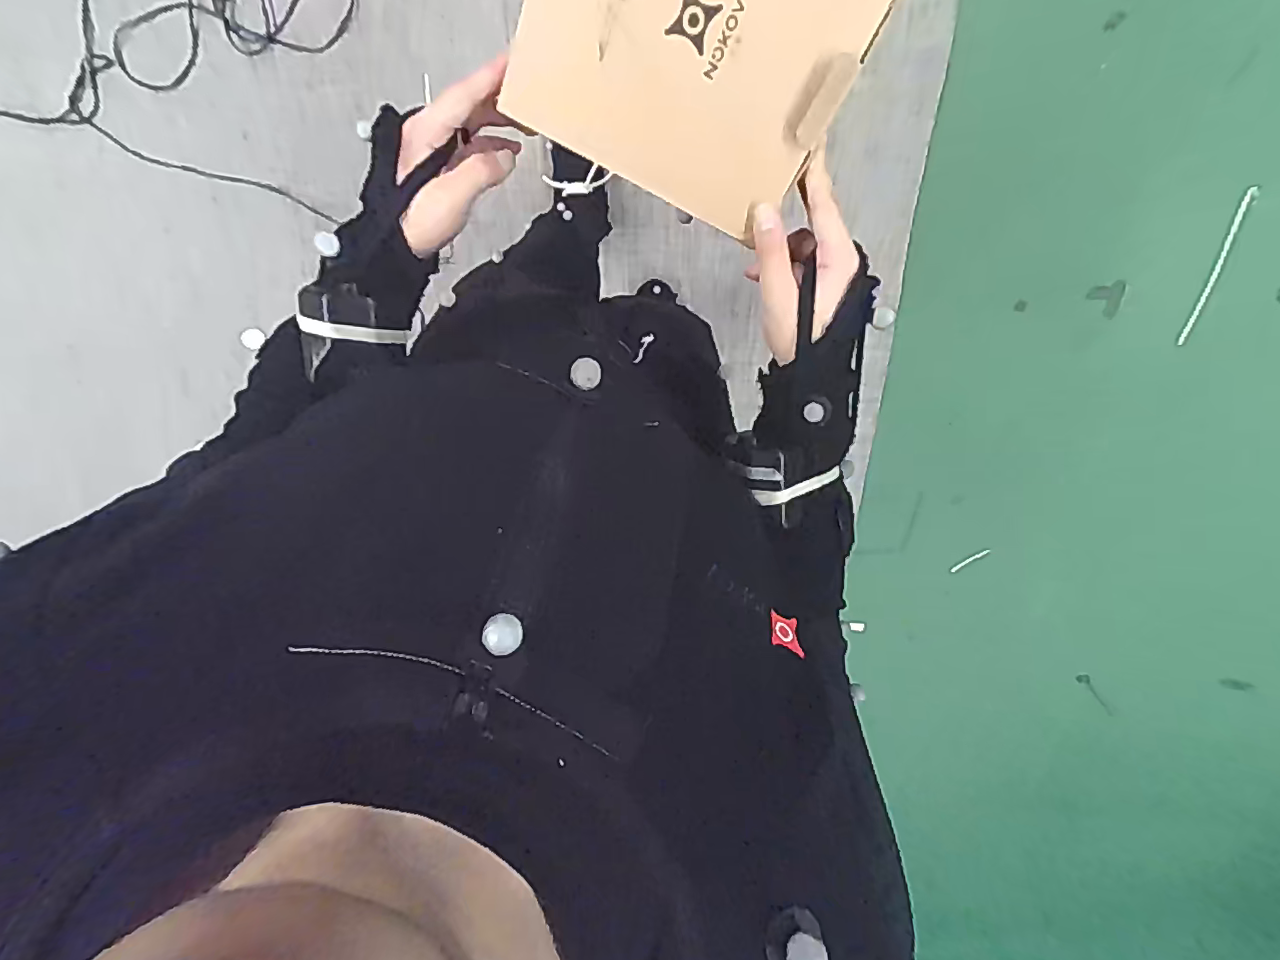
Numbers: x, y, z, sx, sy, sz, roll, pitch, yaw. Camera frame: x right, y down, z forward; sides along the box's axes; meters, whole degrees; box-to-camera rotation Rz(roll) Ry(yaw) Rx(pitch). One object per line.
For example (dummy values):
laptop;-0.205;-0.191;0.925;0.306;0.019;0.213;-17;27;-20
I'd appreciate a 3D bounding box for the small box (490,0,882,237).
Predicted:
small box;0.030;-0.287;0.347;0.179;0.176;0.168;22;121;-11
